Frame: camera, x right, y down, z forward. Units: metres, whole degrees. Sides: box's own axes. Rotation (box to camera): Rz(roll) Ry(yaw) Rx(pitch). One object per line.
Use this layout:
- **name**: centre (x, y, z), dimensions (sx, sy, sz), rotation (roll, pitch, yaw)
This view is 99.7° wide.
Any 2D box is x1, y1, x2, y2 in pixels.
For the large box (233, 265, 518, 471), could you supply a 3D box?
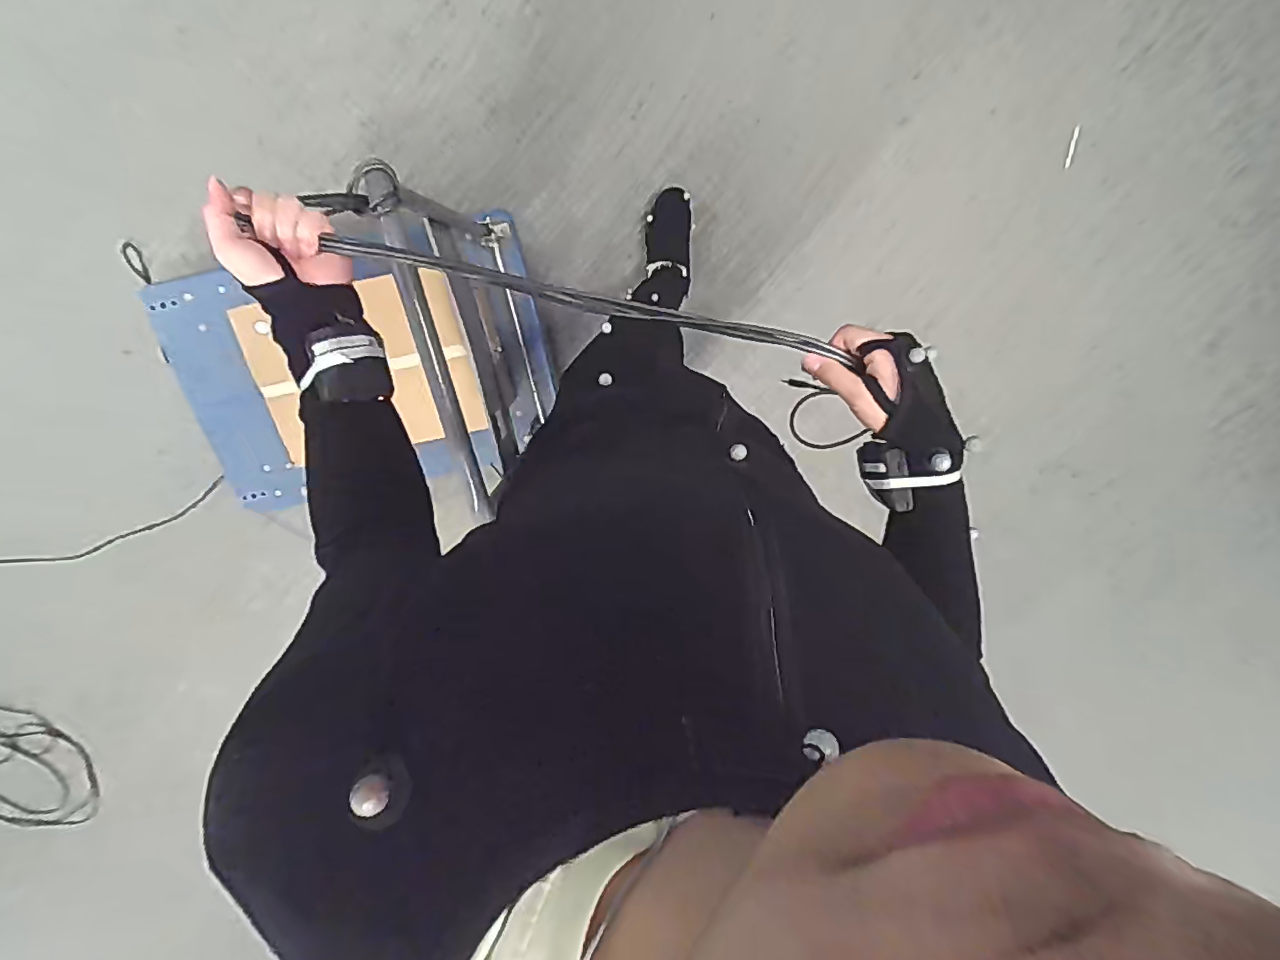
- **large box**: centre (-0.519, -0.249, 1.158), dimensions (0.408, 0.320, 0.320), rotation (-12, 108, 2)
